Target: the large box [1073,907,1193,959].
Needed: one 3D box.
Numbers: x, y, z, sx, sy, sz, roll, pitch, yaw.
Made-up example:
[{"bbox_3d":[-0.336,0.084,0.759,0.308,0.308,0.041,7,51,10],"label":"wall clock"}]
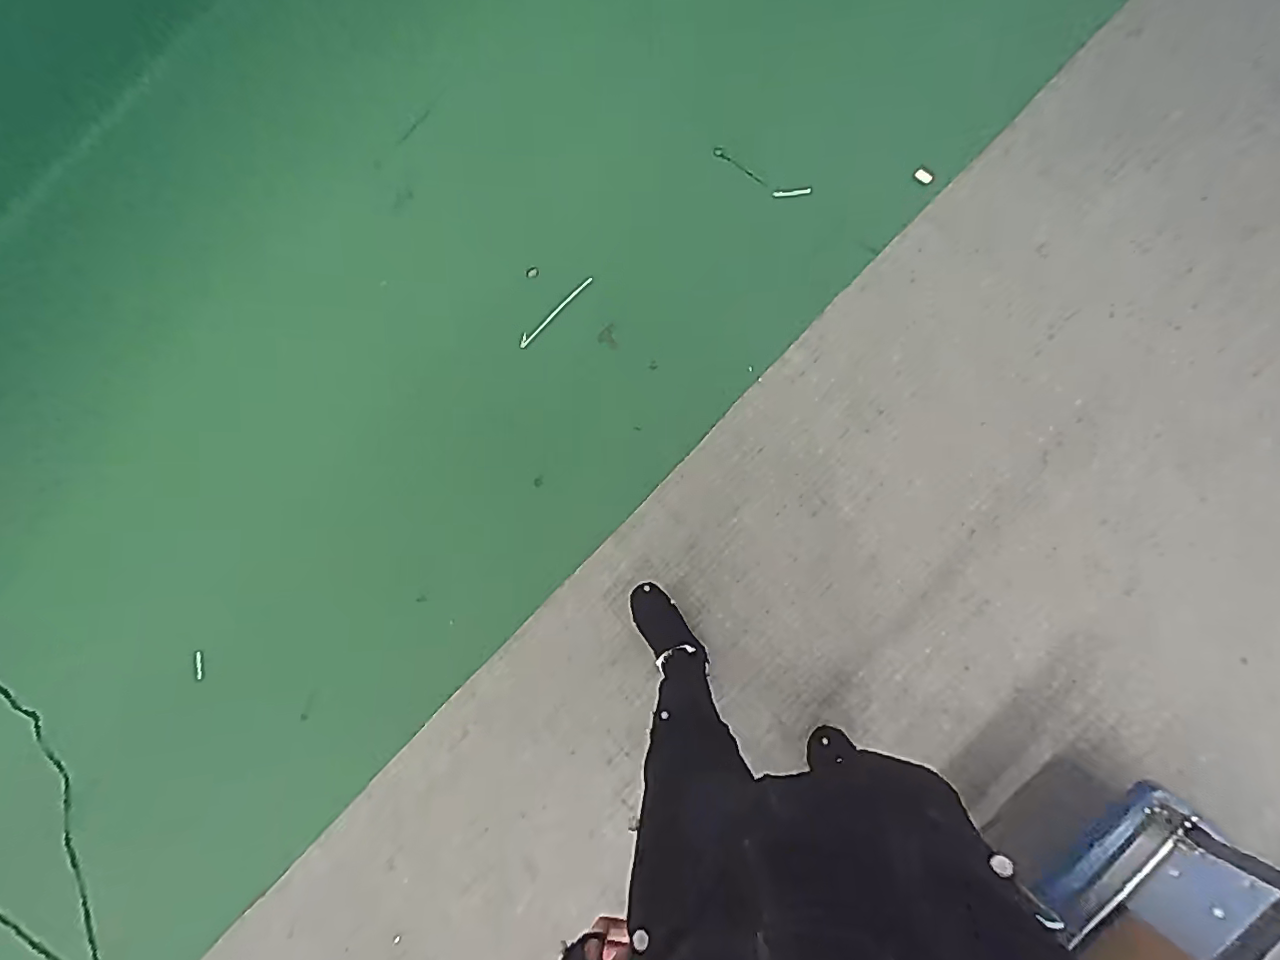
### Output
[{"bbox_3d":[0.900,0.988,0.801,0.320,0.320,0.408,-46,72,-1],"label":"large box"}]
